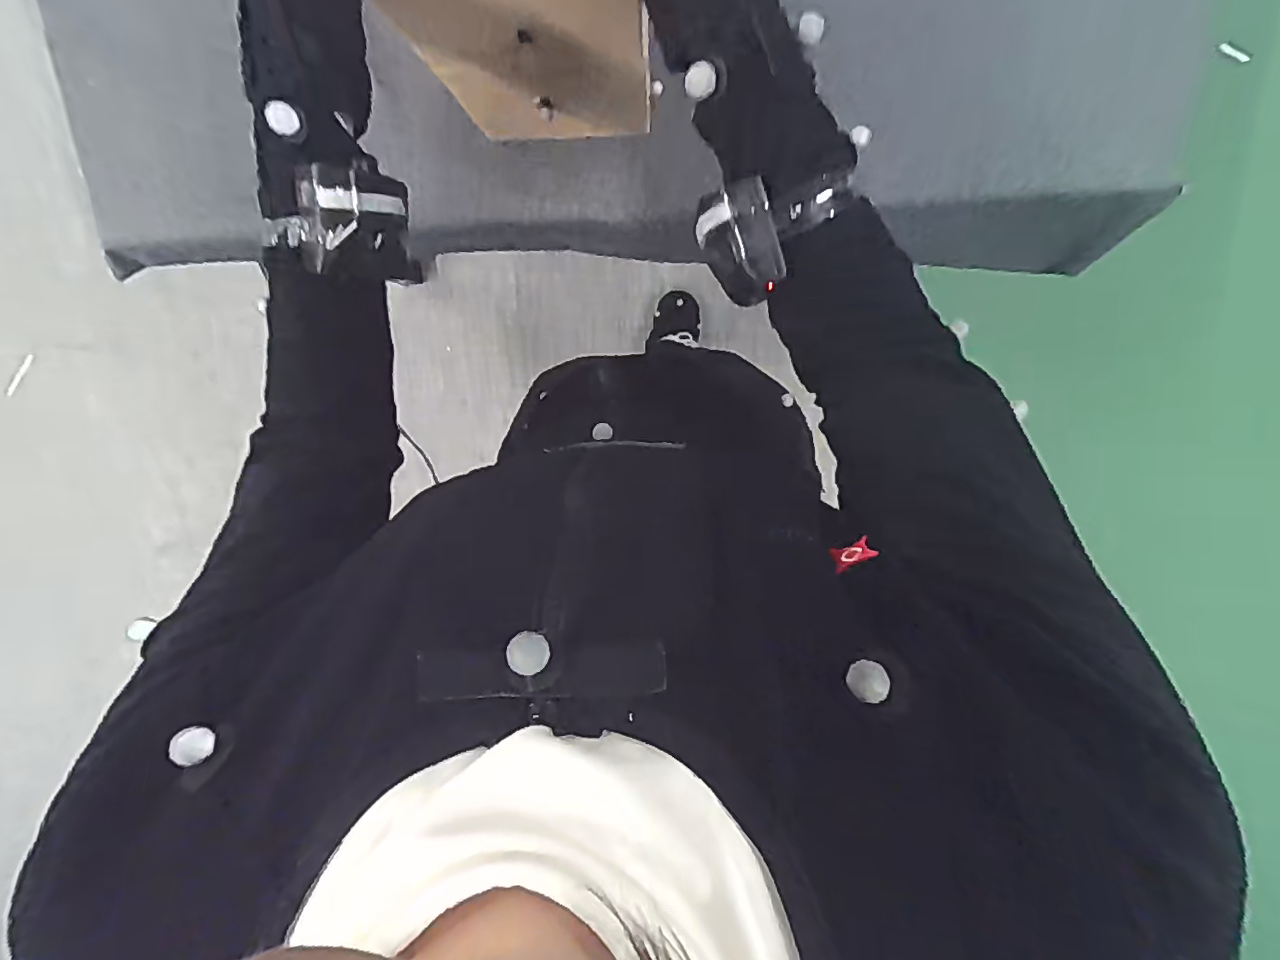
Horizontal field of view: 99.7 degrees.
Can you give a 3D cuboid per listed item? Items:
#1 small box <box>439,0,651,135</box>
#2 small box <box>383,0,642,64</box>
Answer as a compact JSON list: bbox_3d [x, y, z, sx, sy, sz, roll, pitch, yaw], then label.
[{"bbox_3d":[-0.078,-0.437,0.491,0.179,0.176,0.168,2,103,2],"label":"small box"},{"bbox_3d":[-0.086,-0.393,0.337,0.179,0.176,0.168,0,104,2],"label":"small box"}]
